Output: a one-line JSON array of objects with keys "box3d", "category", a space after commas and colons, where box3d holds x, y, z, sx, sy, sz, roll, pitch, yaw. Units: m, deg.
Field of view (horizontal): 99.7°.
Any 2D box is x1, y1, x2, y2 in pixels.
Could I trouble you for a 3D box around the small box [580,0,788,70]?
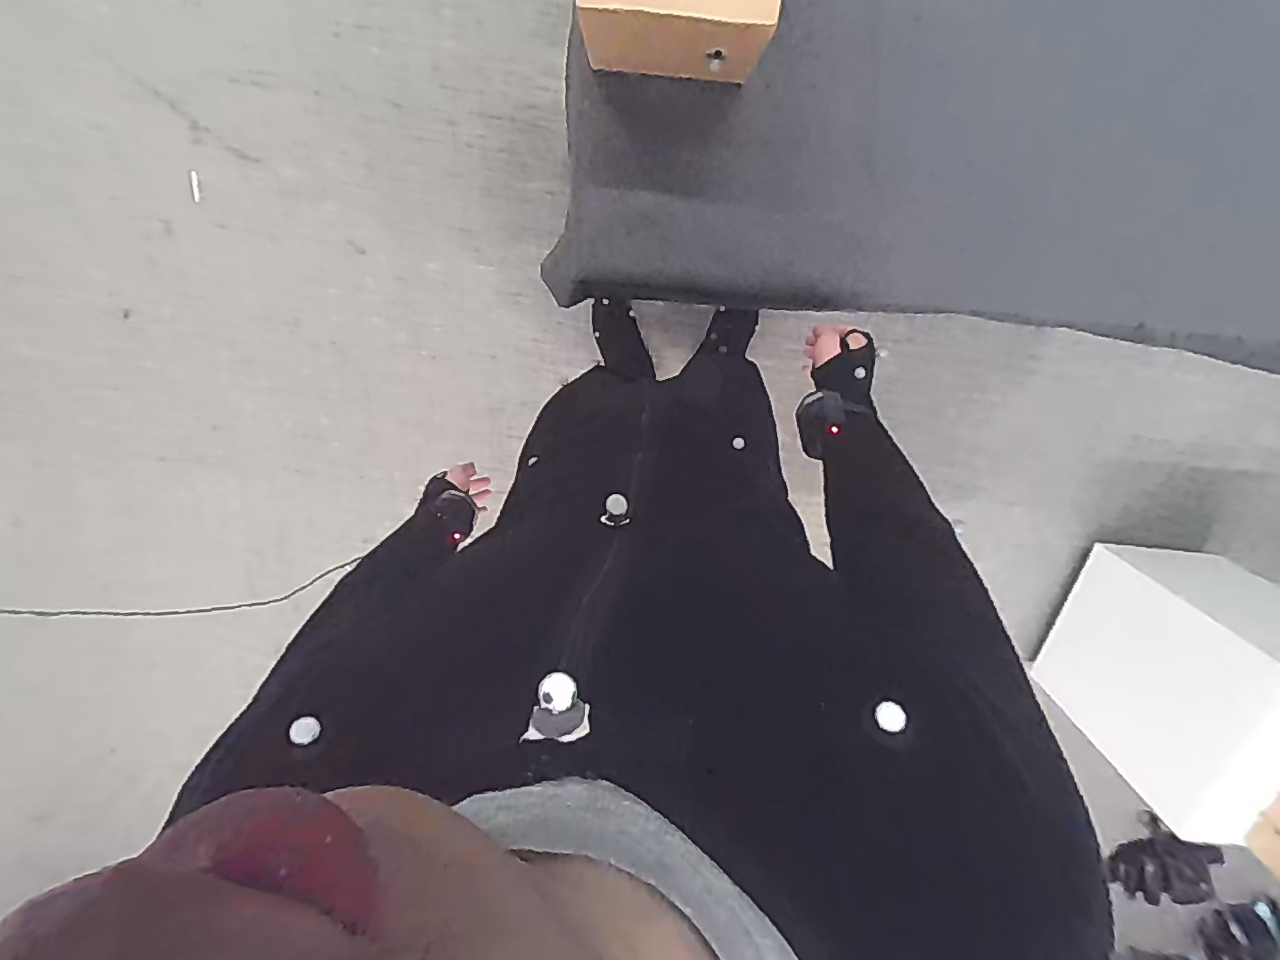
[{"box3d": [0.040, -0.499, 0.488, 0.179, 0.176, 0.168, 4, 112, -2], "category": "small box"}]
